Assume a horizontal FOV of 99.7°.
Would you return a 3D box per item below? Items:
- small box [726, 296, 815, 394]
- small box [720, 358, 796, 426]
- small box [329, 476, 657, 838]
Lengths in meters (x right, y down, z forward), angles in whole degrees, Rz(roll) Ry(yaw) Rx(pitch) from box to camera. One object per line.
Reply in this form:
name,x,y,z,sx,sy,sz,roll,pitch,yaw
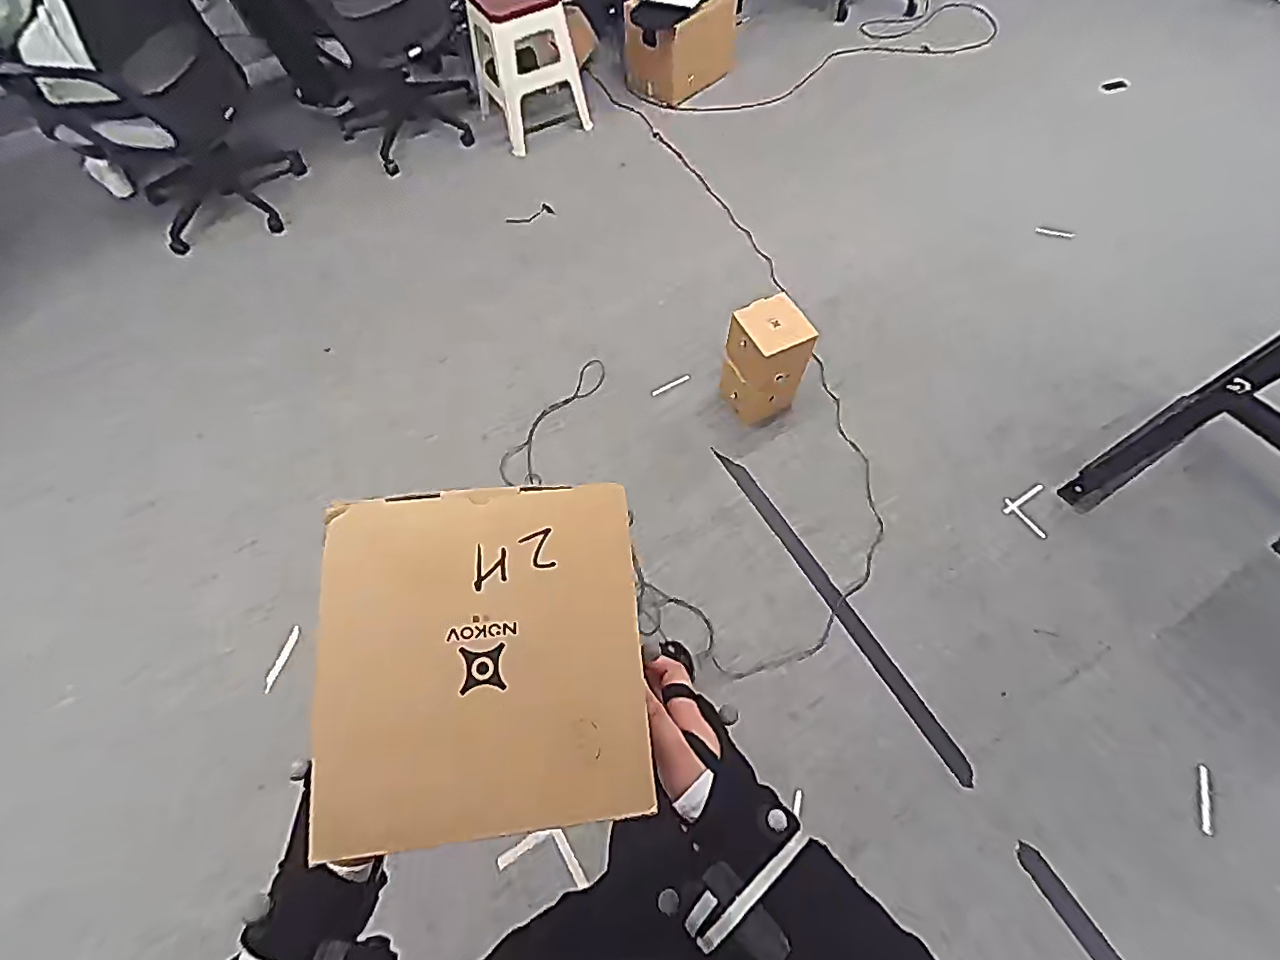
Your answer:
small box,0.355,-0.374,1.514,0.168,0.176,0.179,-25,66,-10
small box,0.358,-0.295,1.658,0.179,0.176,0.168,-29,65,-12
small box,-0.086,0.107,0.368,0.168,0.176,0.179,-4,74,-8
